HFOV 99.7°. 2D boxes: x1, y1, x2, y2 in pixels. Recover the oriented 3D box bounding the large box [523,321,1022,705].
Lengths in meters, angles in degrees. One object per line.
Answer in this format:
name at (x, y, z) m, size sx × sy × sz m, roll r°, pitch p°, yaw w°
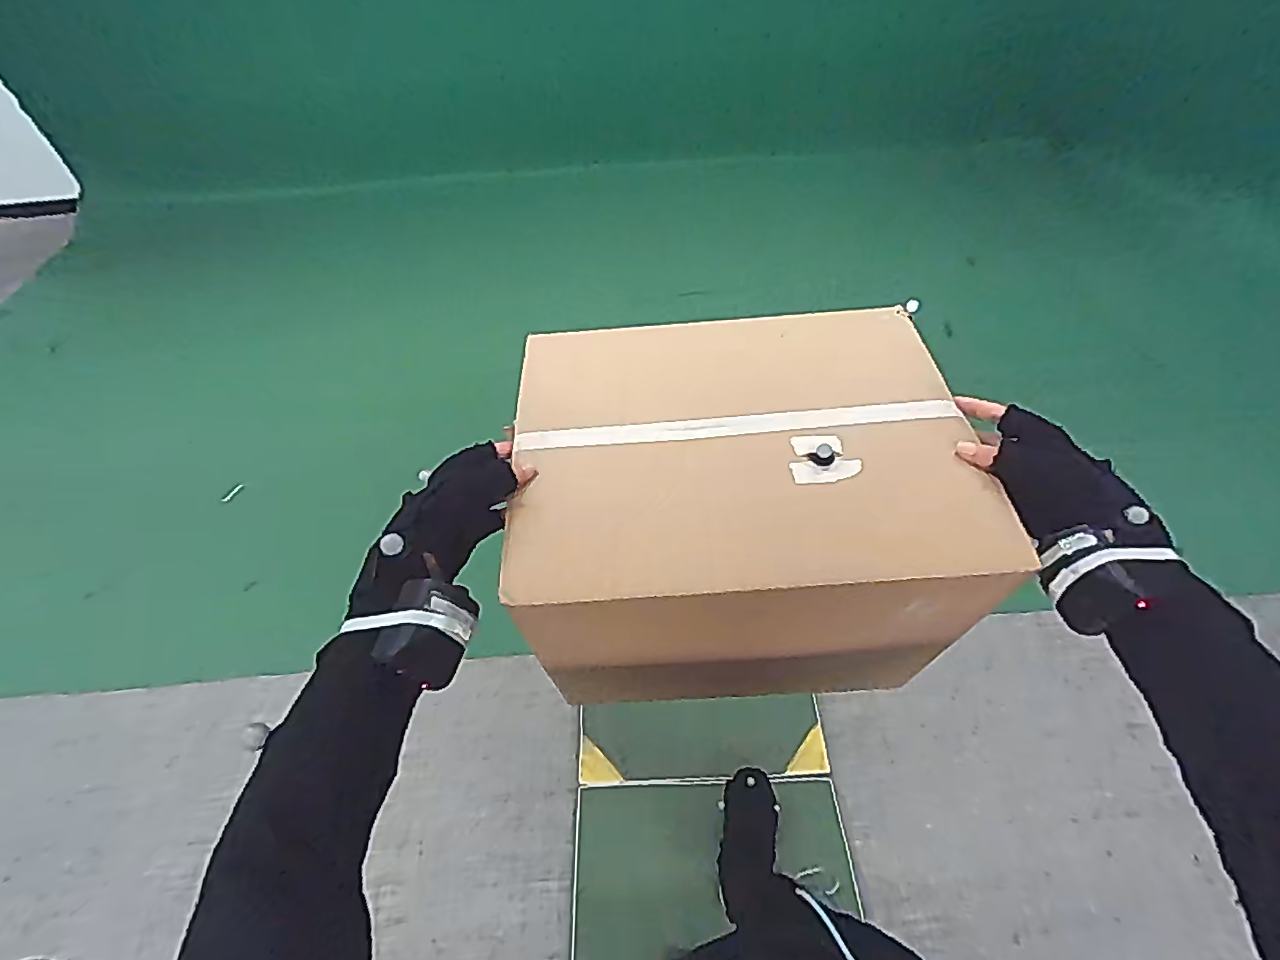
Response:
large box at (0.101, 0.049, 0.628) m, size 0.408 × 0.320 × 0.320 m, roll -4°, pitch 54°, yaw 0°
